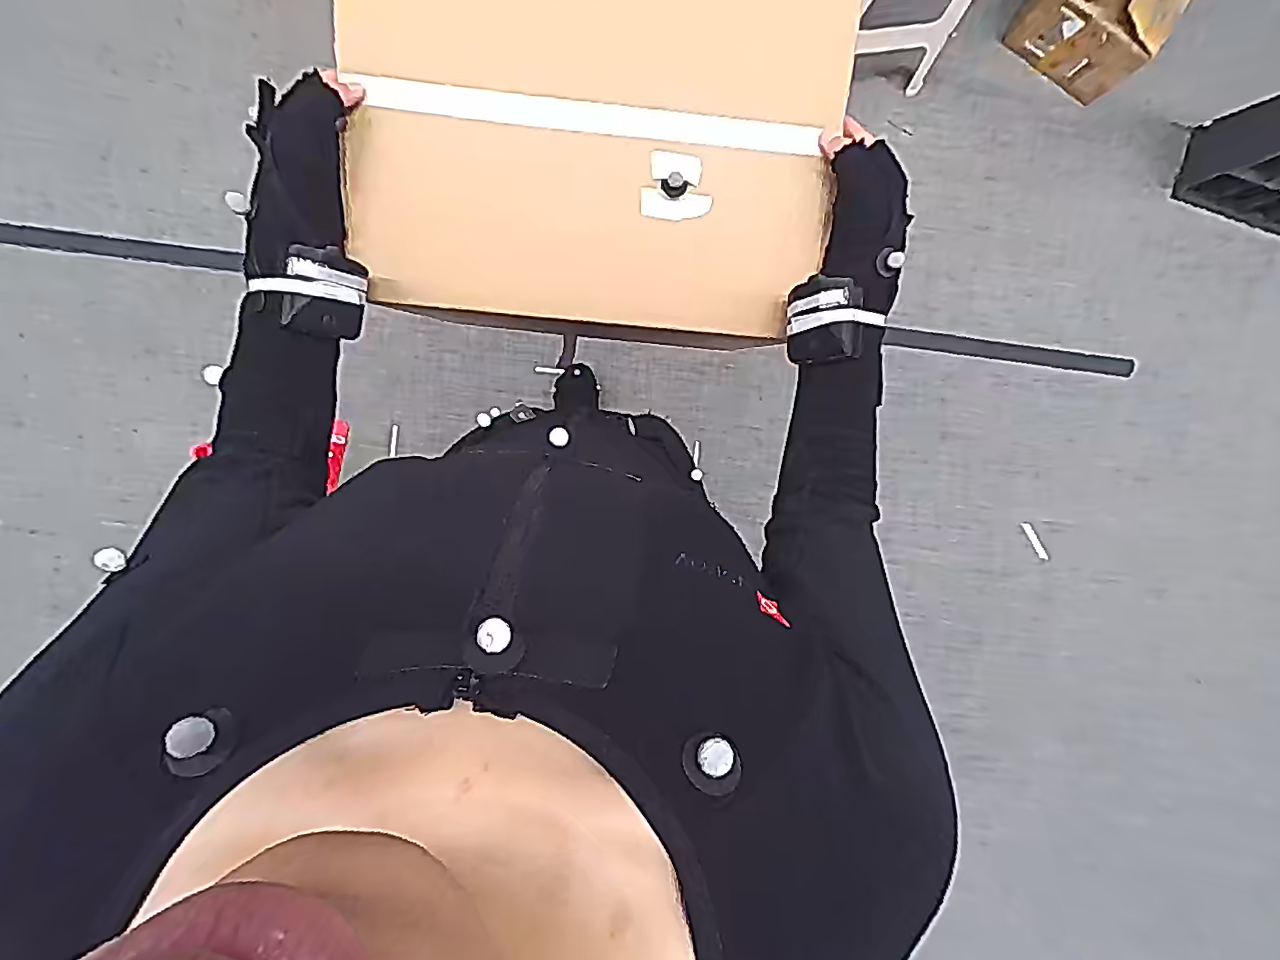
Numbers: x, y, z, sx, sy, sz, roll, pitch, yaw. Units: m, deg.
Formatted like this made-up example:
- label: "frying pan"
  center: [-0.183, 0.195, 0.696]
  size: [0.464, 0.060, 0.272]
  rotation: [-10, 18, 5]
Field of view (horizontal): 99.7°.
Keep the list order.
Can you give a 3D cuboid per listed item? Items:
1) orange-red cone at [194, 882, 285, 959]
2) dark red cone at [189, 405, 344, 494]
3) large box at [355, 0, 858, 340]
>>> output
- label: "orange-red cone"
  center: [-1.065, 1.211, 1.308]
  size: [0.198, 0.360, 0.199]
  rotation: [4, 95, -3]
- label: "dark red cone"
  center: [-0.848, -0.067, 1.207]
  size: [0.201, 0.394, 0.202]
  rotation: [12, 93, -6]
- label: "large box"
  center: [-0.039, -0.330, 0.587]
  size: [0.408, 0.320, 0.320]
  rotation: [4, 102, -5]
